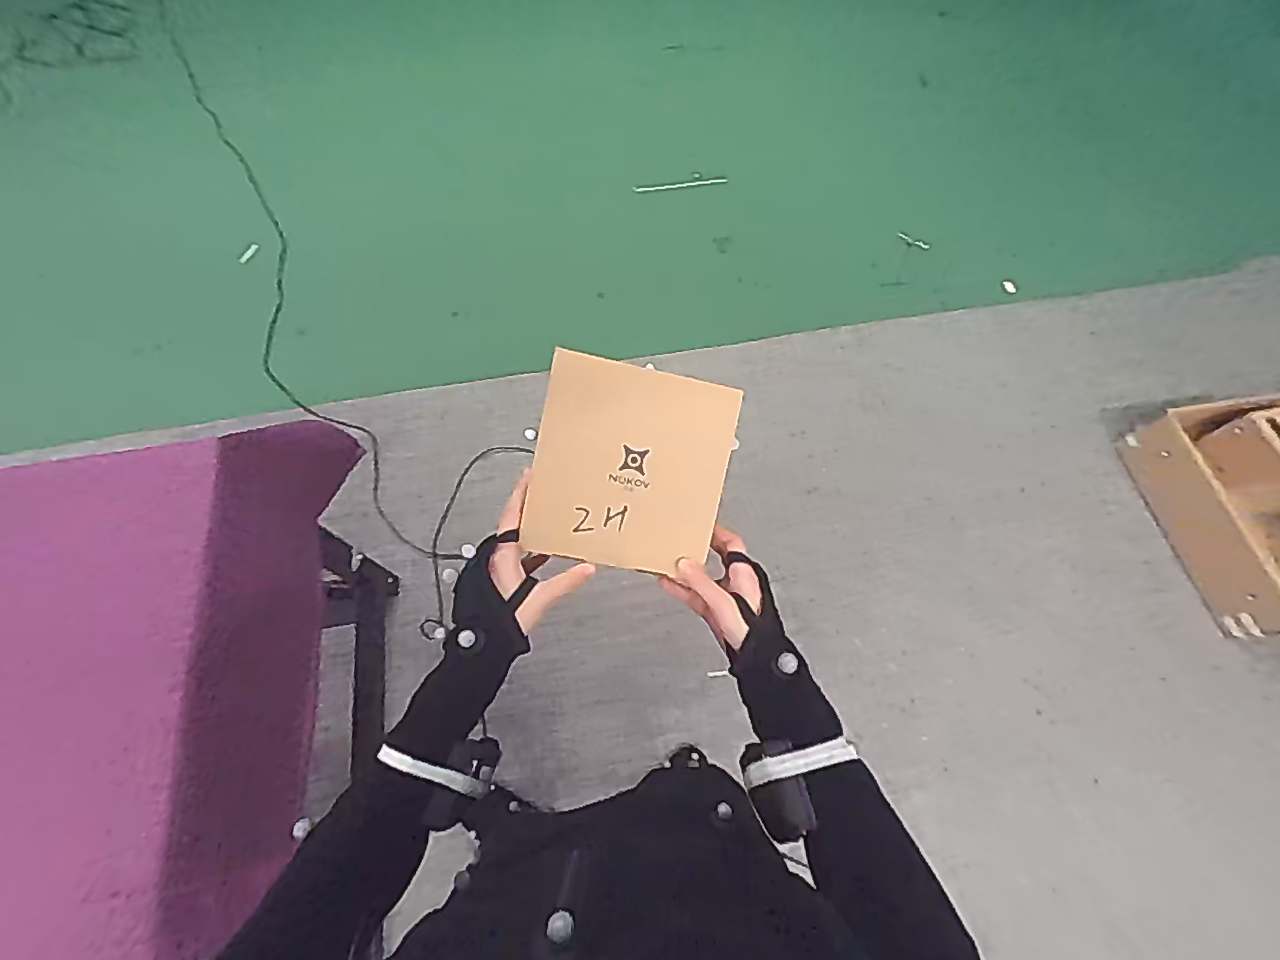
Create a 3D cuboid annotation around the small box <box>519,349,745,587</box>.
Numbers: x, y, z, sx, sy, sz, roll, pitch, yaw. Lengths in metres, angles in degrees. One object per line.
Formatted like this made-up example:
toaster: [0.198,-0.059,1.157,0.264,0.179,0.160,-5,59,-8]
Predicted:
small box: [-0.013,-0.014,0.540,0.168,0.176,0.179,13,94,-5]
